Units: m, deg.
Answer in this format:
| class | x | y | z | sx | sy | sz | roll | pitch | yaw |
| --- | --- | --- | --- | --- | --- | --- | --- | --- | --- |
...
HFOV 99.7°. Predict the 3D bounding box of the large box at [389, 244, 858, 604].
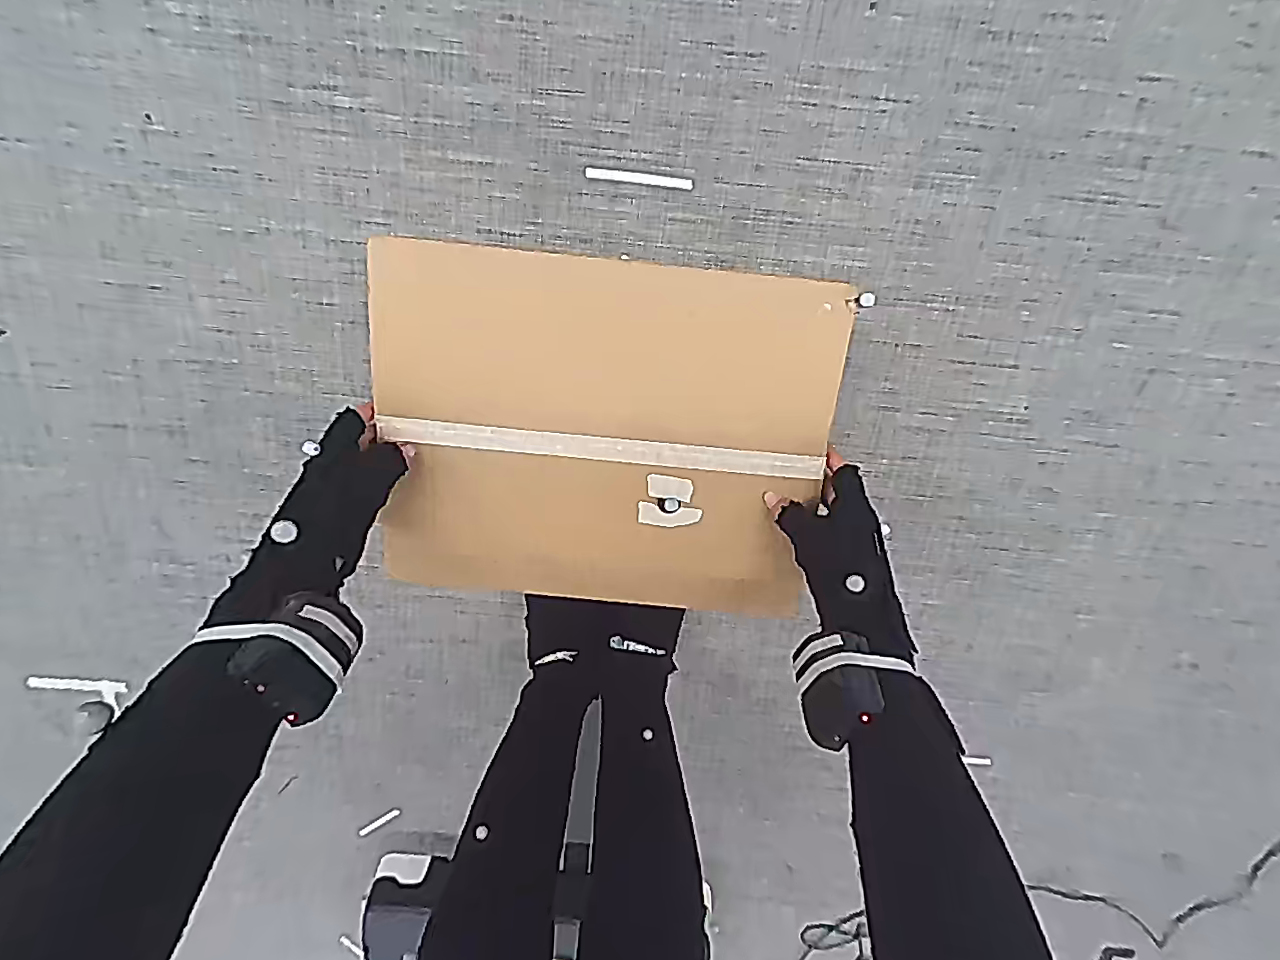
| class | x | y | z | sx | sy | sz | roll | pitch | yaw |
| --- | --- | --- | --- | --- | --- | --- | --- | --- | --- |
| large box | -0.025 | -0.077 | 0.638 | 0.408 | 0.320 | 0.320 | 5 | 108 | -1 |
